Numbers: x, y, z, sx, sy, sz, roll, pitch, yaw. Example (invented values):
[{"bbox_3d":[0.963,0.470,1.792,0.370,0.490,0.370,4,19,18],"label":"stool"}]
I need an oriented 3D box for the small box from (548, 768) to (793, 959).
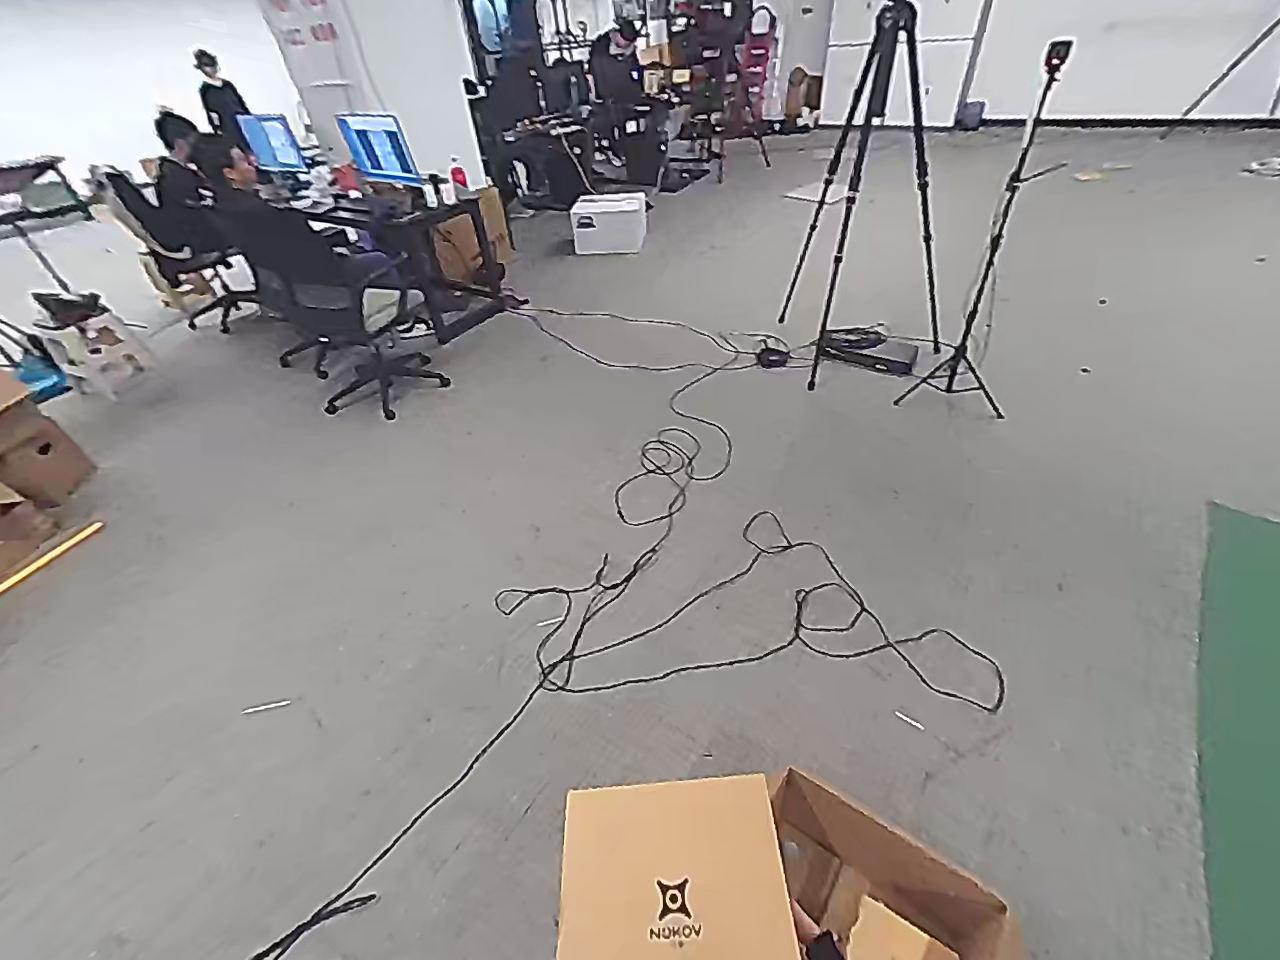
[{"bbox_3d":[0.027,0.358,0.430,0.168,0.176,0.179,-7,42,3],"label":"small box"}]
